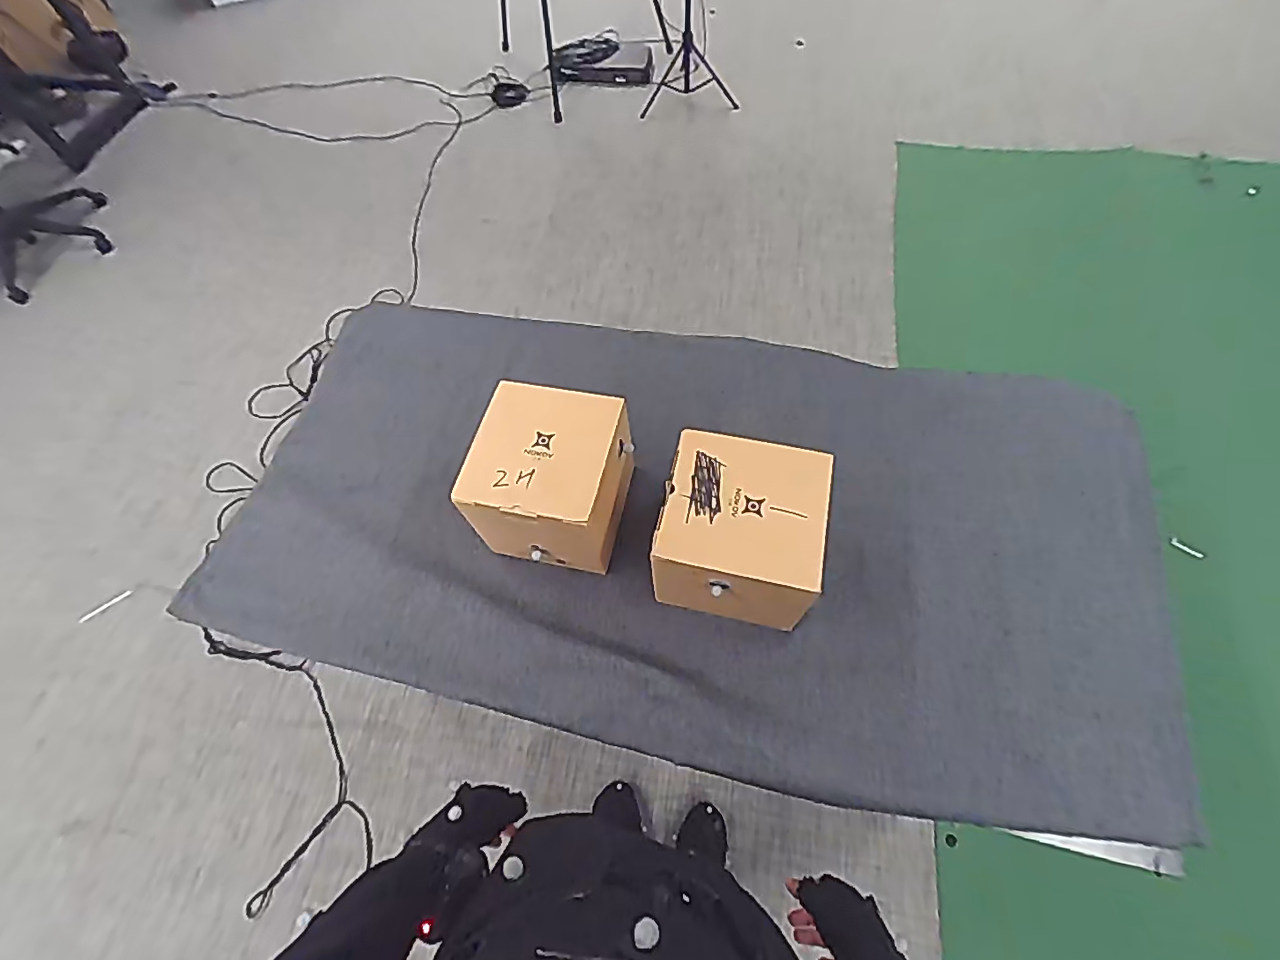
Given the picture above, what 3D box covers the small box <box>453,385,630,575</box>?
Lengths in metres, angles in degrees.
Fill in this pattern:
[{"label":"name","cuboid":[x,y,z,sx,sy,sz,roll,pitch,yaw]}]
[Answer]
[{"label":"small box","cuboid":[-0.112,0.004,0.710,0.168,0.176,0.179,9,62,10]}]
